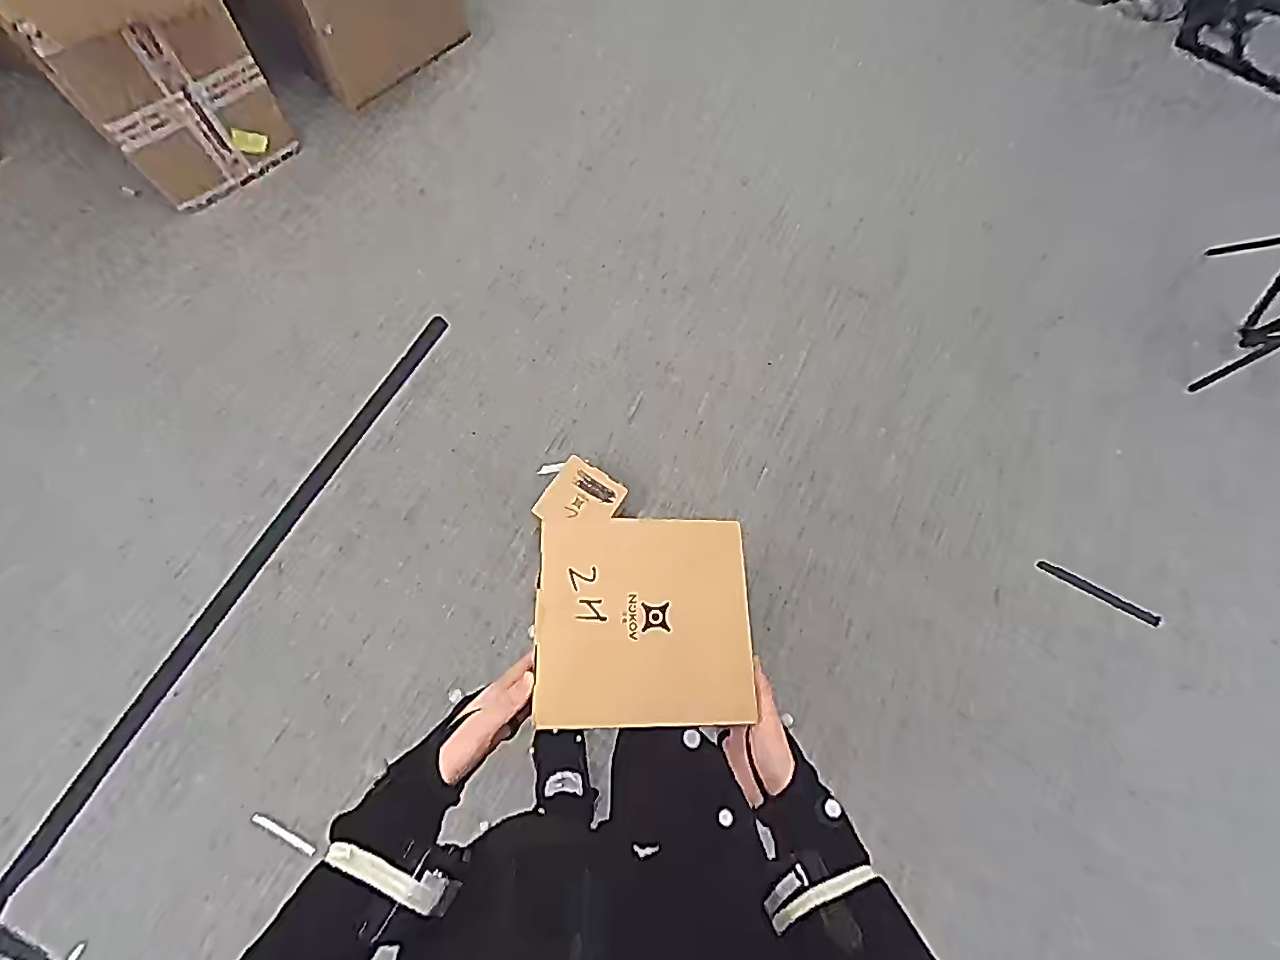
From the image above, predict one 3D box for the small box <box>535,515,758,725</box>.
[{"bbox_3d":[-0.003,0.138,0.514,0.179,0.176,0.168,1,68,-6],"label":"small box"}]
